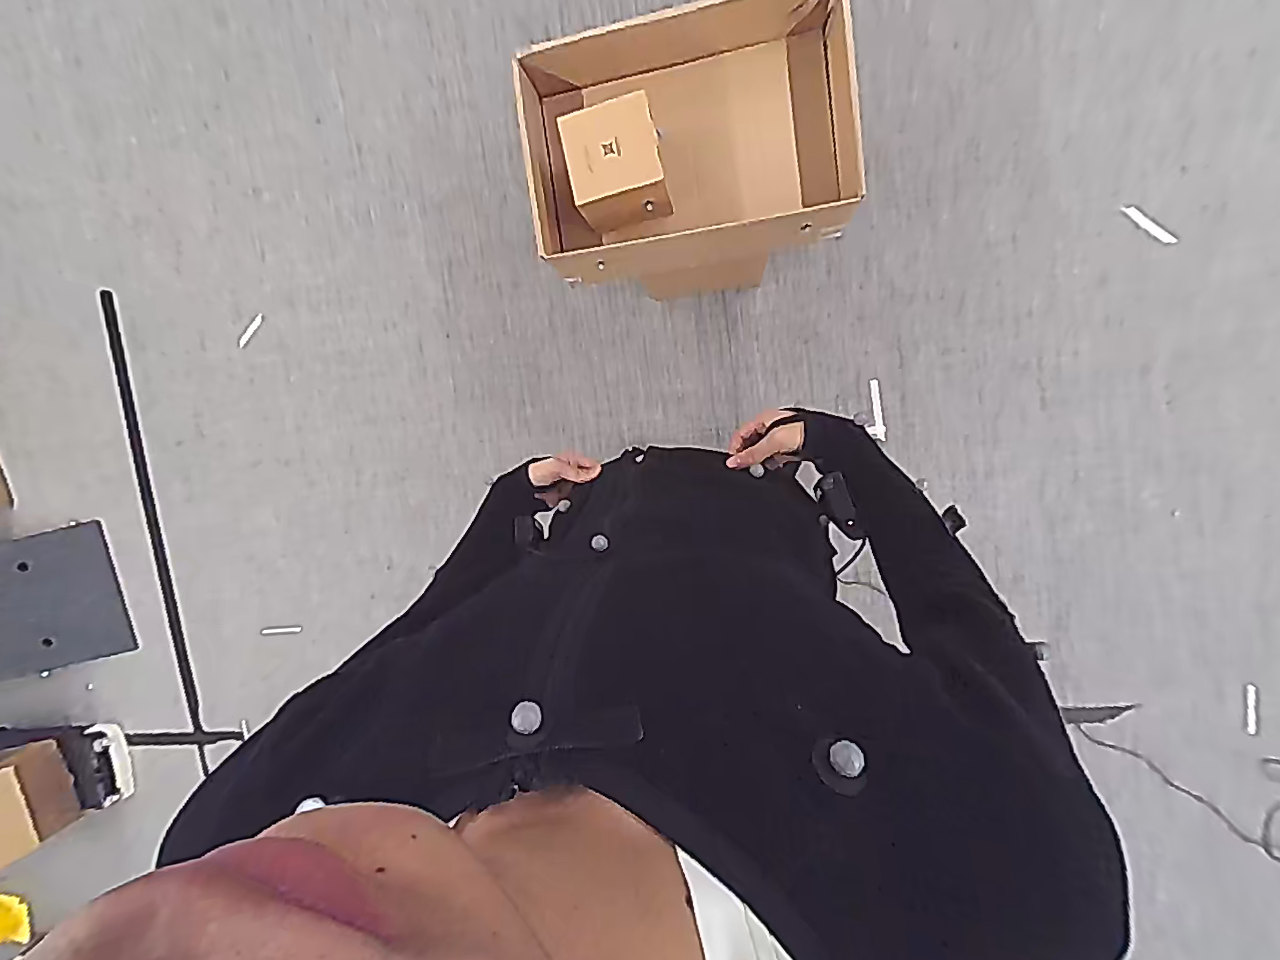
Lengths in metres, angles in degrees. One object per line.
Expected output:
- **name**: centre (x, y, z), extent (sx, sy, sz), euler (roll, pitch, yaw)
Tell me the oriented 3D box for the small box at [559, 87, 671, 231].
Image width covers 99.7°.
- **small box**: centre (-0.039, -0.620, 1.068), extent (0.179, 0.176, 0.168), euler (-11, 94, 11)
